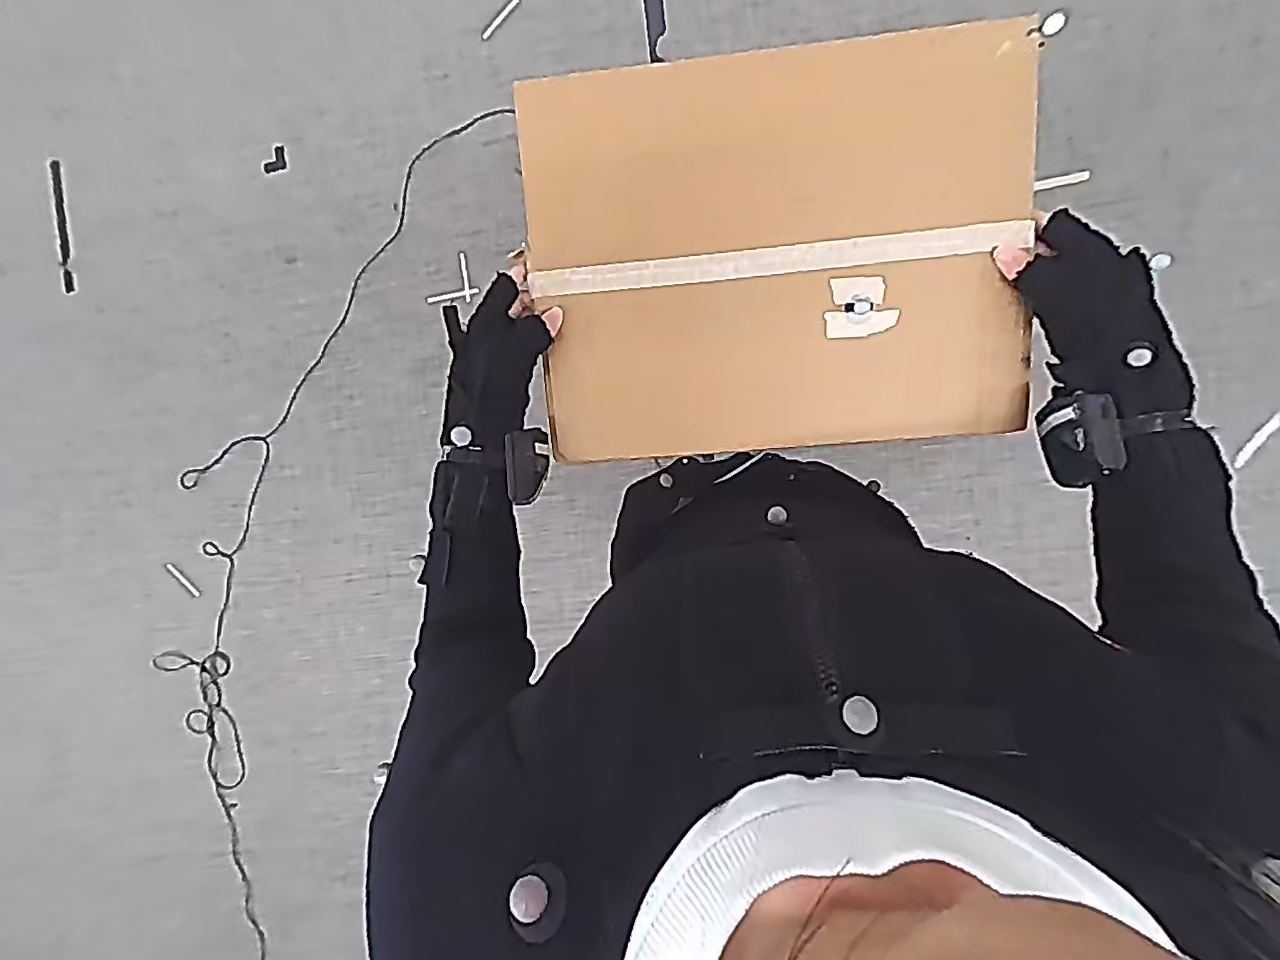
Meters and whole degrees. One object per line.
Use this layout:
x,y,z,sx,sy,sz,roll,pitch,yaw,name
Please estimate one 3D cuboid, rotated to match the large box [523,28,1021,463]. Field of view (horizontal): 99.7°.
0.120,-0.208,0.605,0.408,0.320,0.320,-5,100,4,large box
